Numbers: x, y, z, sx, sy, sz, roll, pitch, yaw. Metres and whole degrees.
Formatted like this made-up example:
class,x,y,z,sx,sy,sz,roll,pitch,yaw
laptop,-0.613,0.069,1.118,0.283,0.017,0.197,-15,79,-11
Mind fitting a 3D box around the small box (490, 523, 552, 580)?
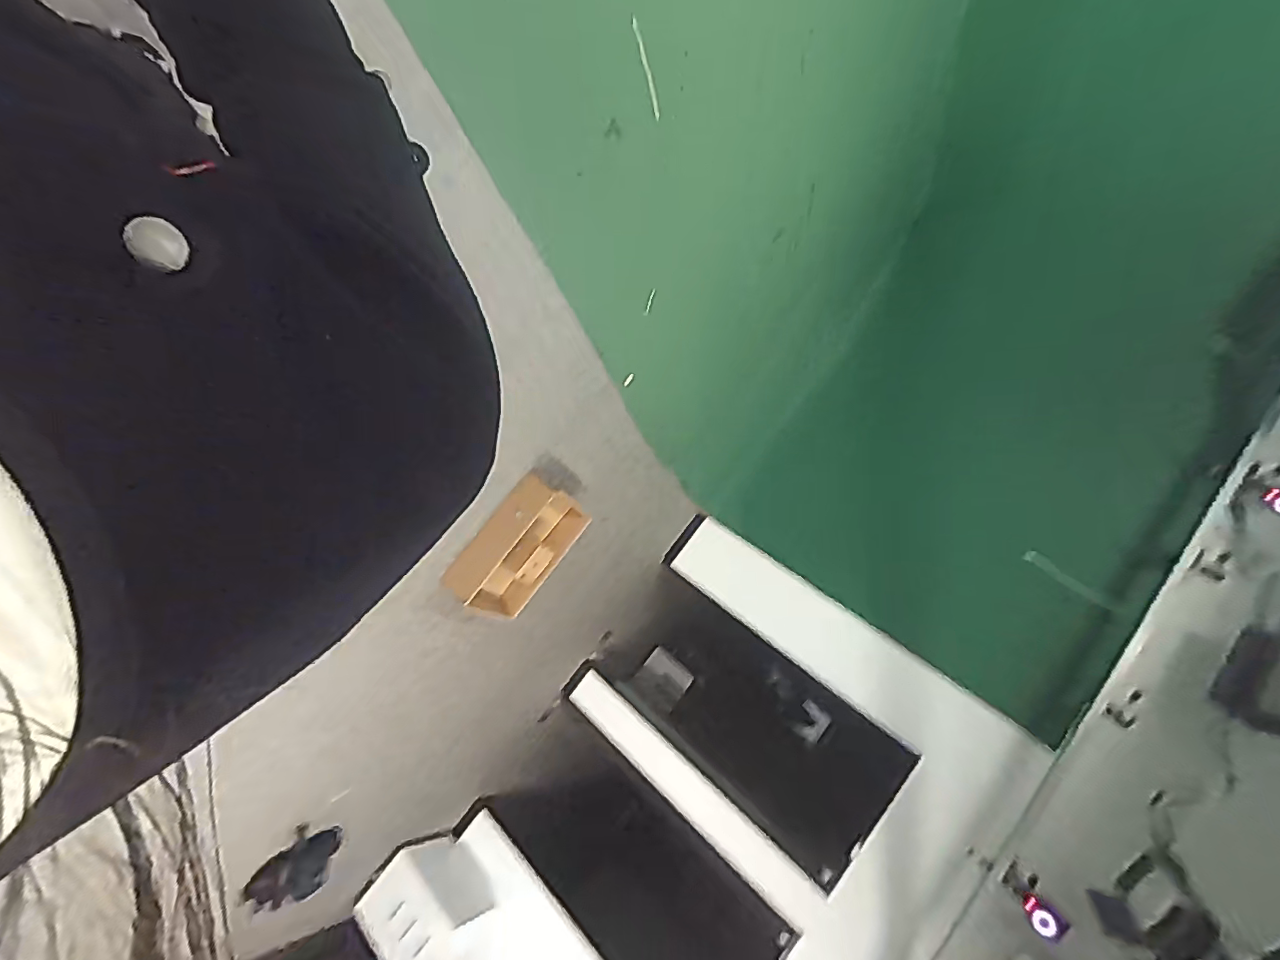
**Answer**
class,x,y,z,sx,sy,sz,roll,pitch,yaw
small box,-0.536,0.319,2.419,0.179,0.176,0.168,-53,155,-5
